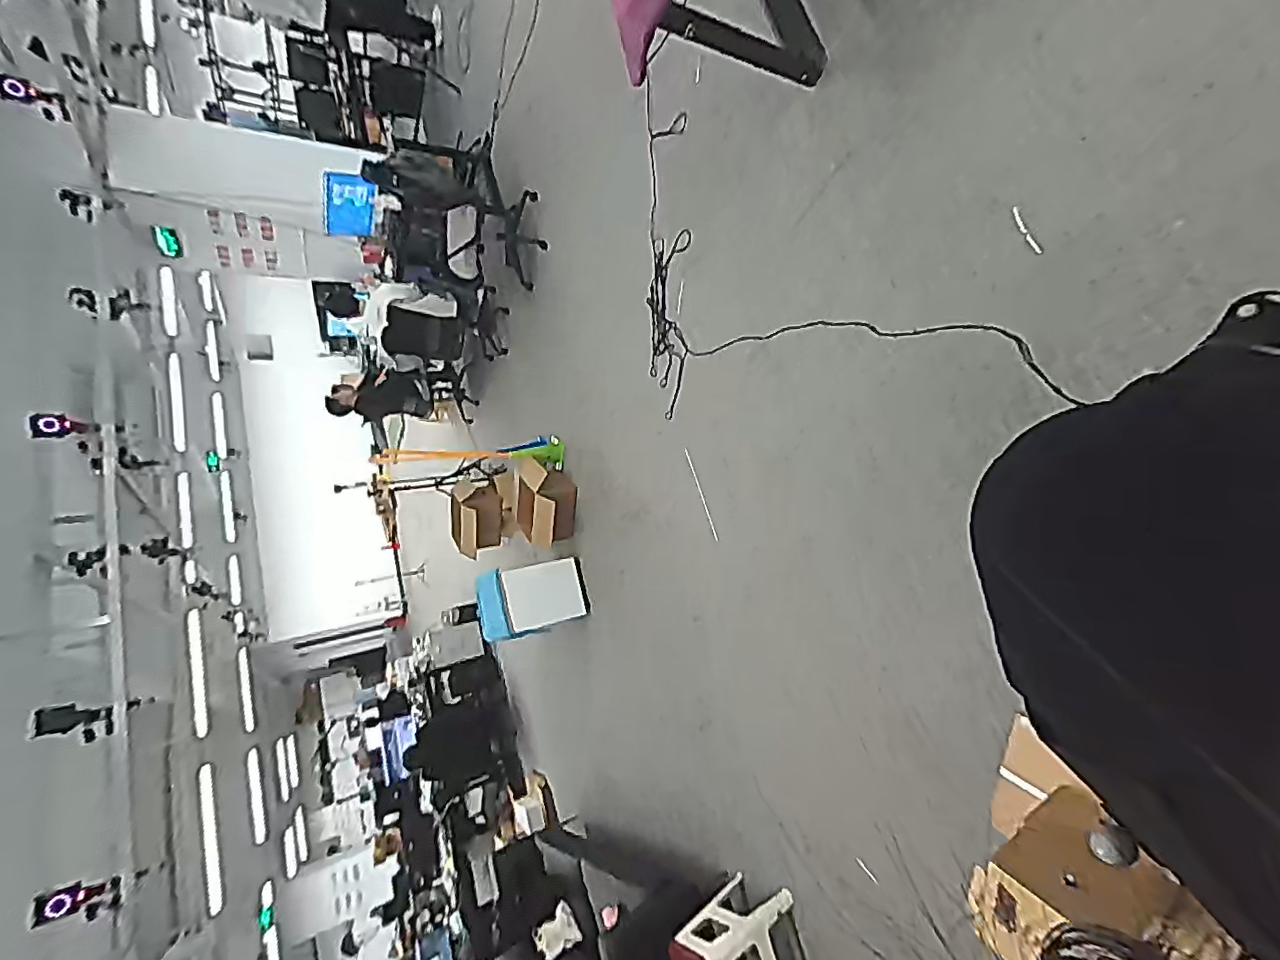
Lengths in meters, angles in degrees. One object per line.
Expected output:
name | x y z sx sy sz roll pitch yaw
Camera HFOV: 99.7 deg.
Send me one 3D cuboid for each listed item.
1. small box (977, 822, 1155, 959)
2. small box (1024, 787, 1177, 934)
small box | 0.718 0.725 0.919 0.179 0.176 0.168 22 116 53
small box | 0.853 0.717 1.017 0.179 0.176 0.168 17 113 57
